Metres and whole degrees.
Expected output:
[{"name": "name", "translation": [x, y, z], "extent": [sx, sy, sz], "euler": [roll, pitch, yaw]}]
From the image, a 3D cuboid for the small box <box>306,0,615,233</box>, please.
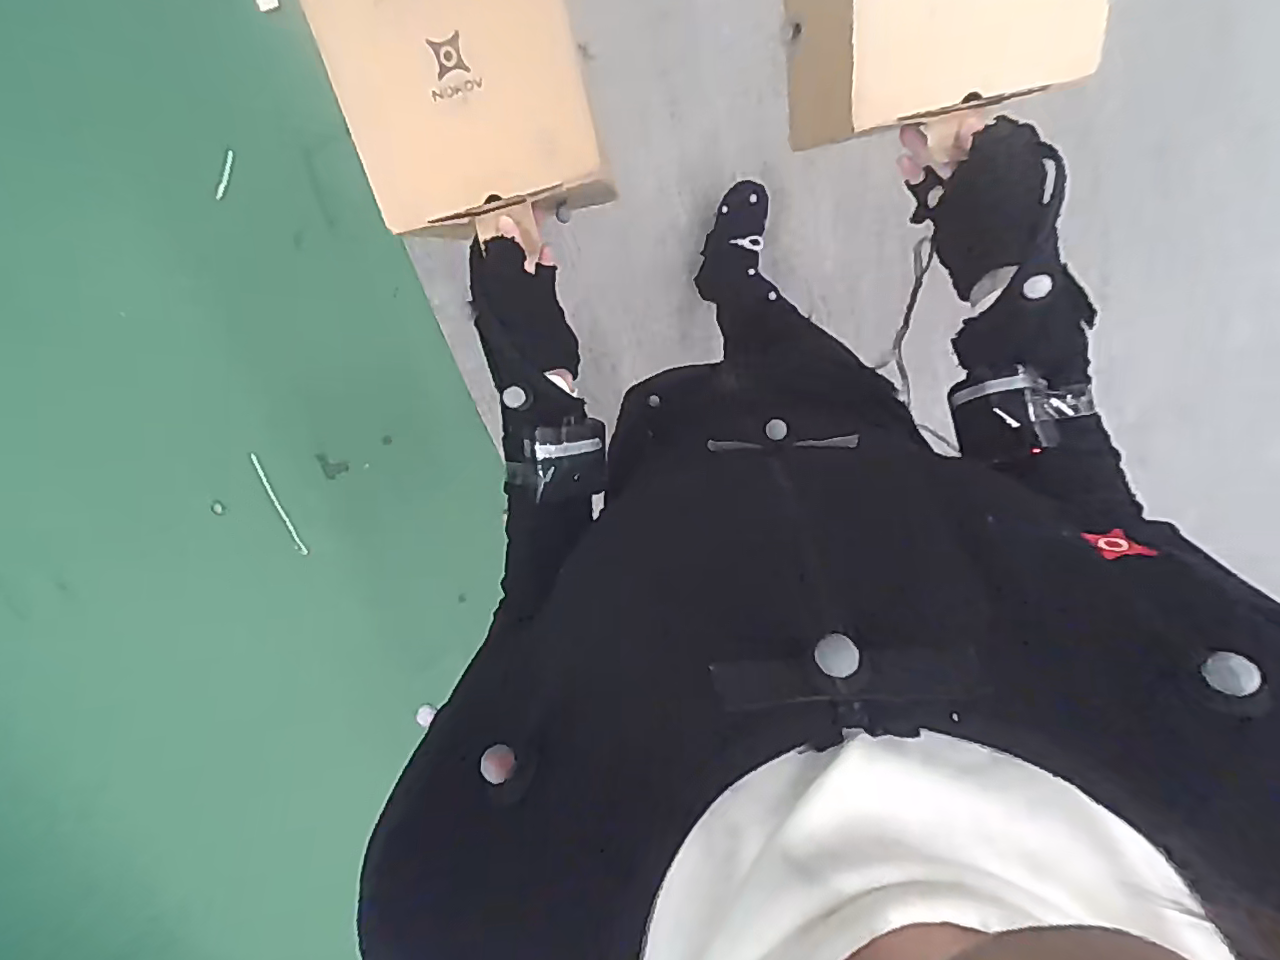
[{"name": "small box", "translation": [-0.123, -0.312, 0.439], "extent": [0.168, 0.176, 0.179], "euler": [-13, 111, 7]}]
